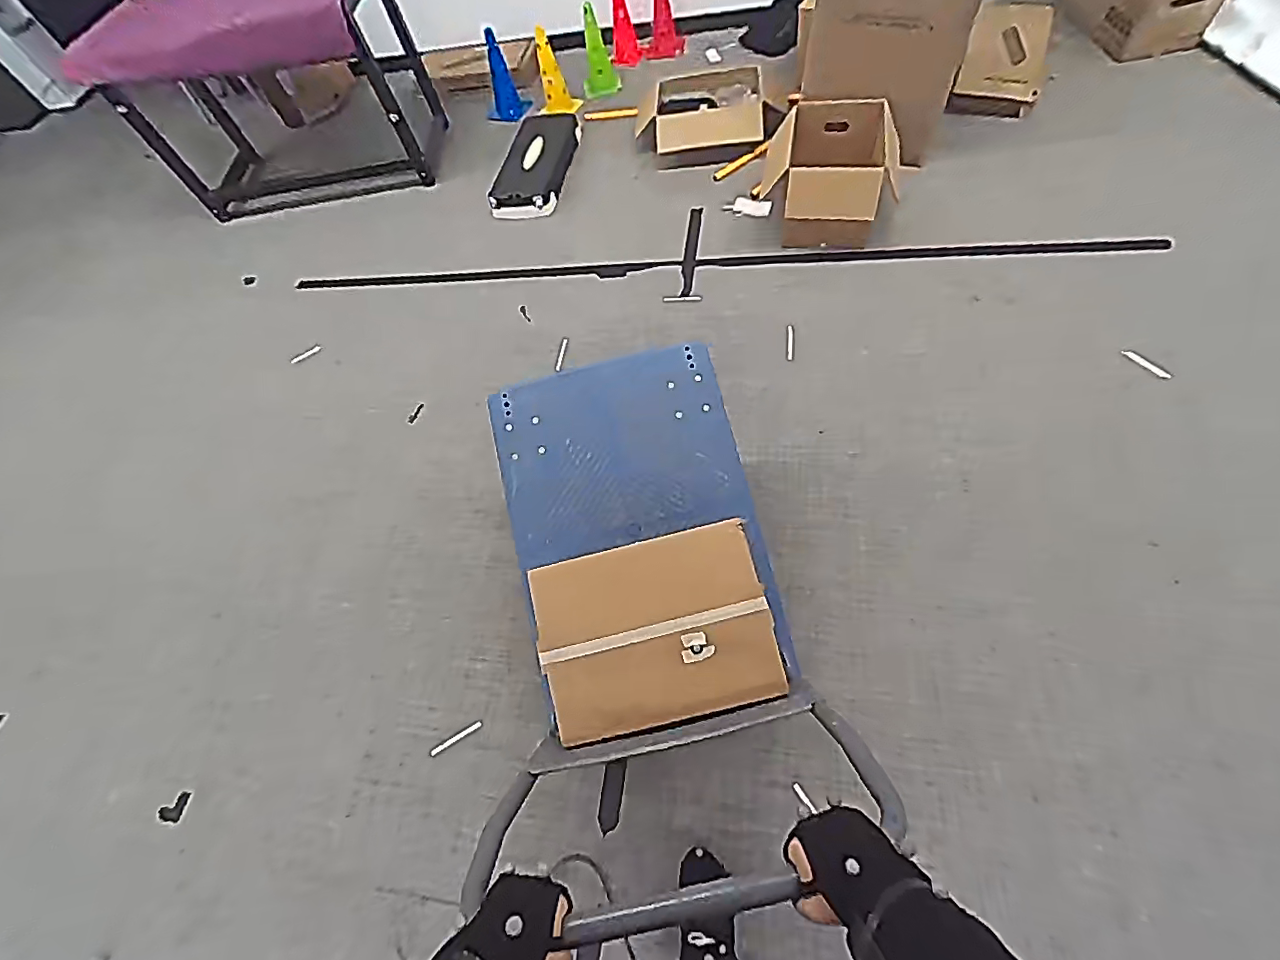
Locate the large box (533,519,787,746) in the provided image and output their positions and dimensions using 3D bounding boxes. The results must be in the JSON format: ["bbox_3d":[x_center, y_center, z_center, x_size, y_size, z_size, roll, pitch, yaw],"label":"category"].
[{"bbox_3d":[0.037,0.300,1.117,0.408,0.320,0.320,-15,79,0],"label":"large box"}]
